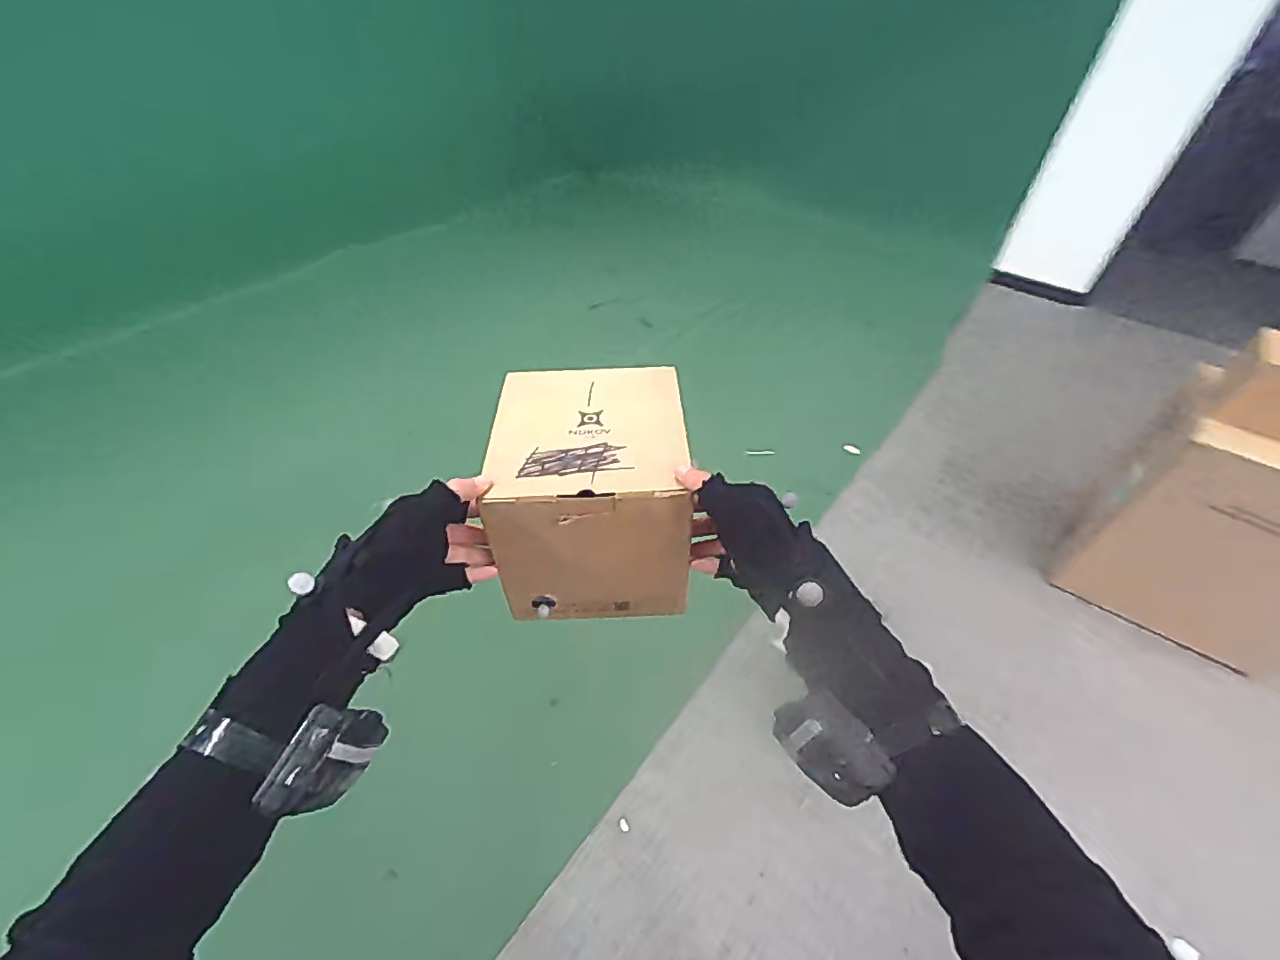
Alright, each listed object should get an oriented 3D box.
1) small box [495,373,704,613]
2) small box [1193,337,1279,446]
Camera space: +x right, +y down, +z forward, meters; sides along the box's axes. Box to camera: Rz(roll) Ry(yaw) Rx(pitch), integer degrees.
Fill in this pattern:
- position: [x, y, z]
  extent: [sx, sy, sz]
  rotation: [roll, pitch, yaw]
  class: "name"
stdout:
- position: [-0.030, 0.016, 0.526]
  extent: [0.168, 0.176, 0.179]
  rotation: [-1, 43, -1]
  class: "small box"
- position: [1.487, -0.207, 1.287]
  extent: [0.179, 0.176, 0.168]
  rotation: [27, 54, 24]
  class: "small box"
